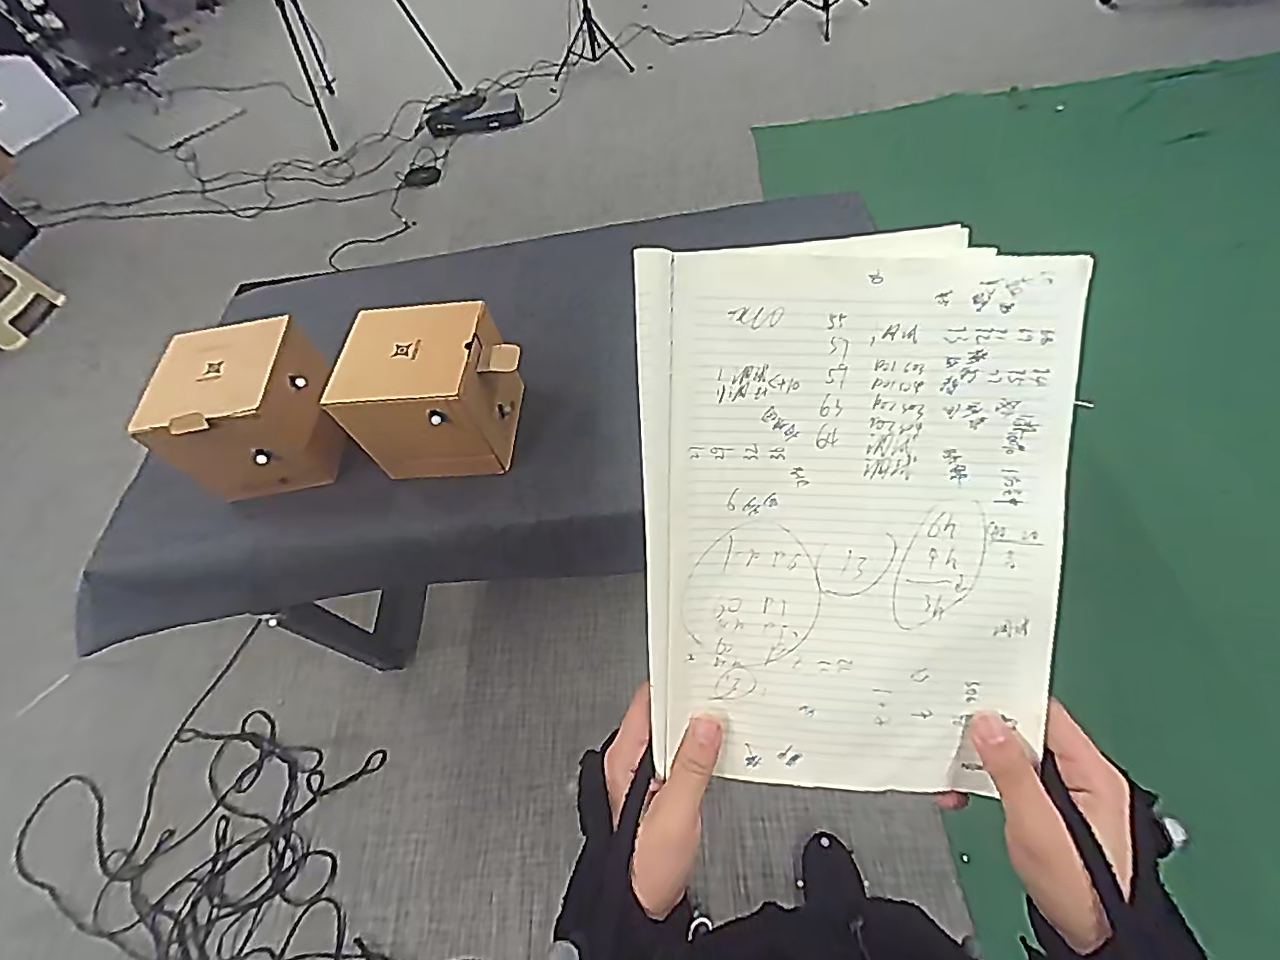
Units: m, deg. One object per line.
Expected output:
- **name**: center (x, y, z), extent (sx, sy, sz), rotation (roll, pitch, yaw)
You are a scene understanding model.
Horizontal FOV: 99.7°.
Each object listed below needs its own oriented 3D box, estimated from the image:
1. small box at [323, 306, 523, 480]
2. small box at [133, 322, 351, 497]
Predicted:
- **small box**: center (-0.277, -0.111, 0.737), extent (0.179, 0.176, 0.168), rotation (-3, 56, 6)
- **small box**: center (-0.535, -0.089, 0.763), extent (0.168, 0.176, 0.179), rotation (-10, 55, 1)
